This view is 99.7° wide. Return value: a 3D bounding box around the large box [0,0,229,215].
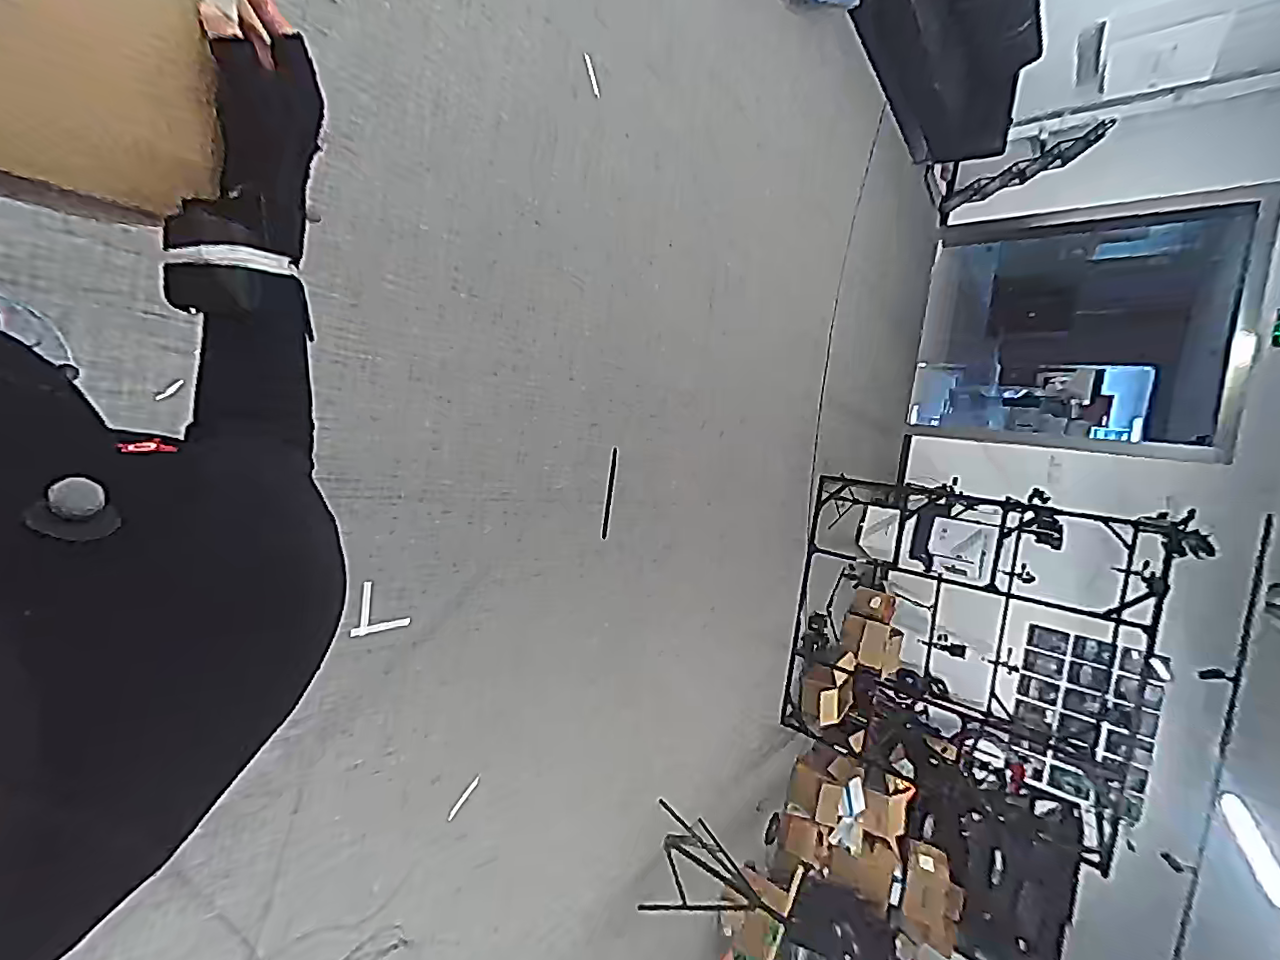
[{"bbox_3d":[-0.528,-0.380,0.305,0.408,0.320,0.320,-4,111,-56],"label":"large box"}]
